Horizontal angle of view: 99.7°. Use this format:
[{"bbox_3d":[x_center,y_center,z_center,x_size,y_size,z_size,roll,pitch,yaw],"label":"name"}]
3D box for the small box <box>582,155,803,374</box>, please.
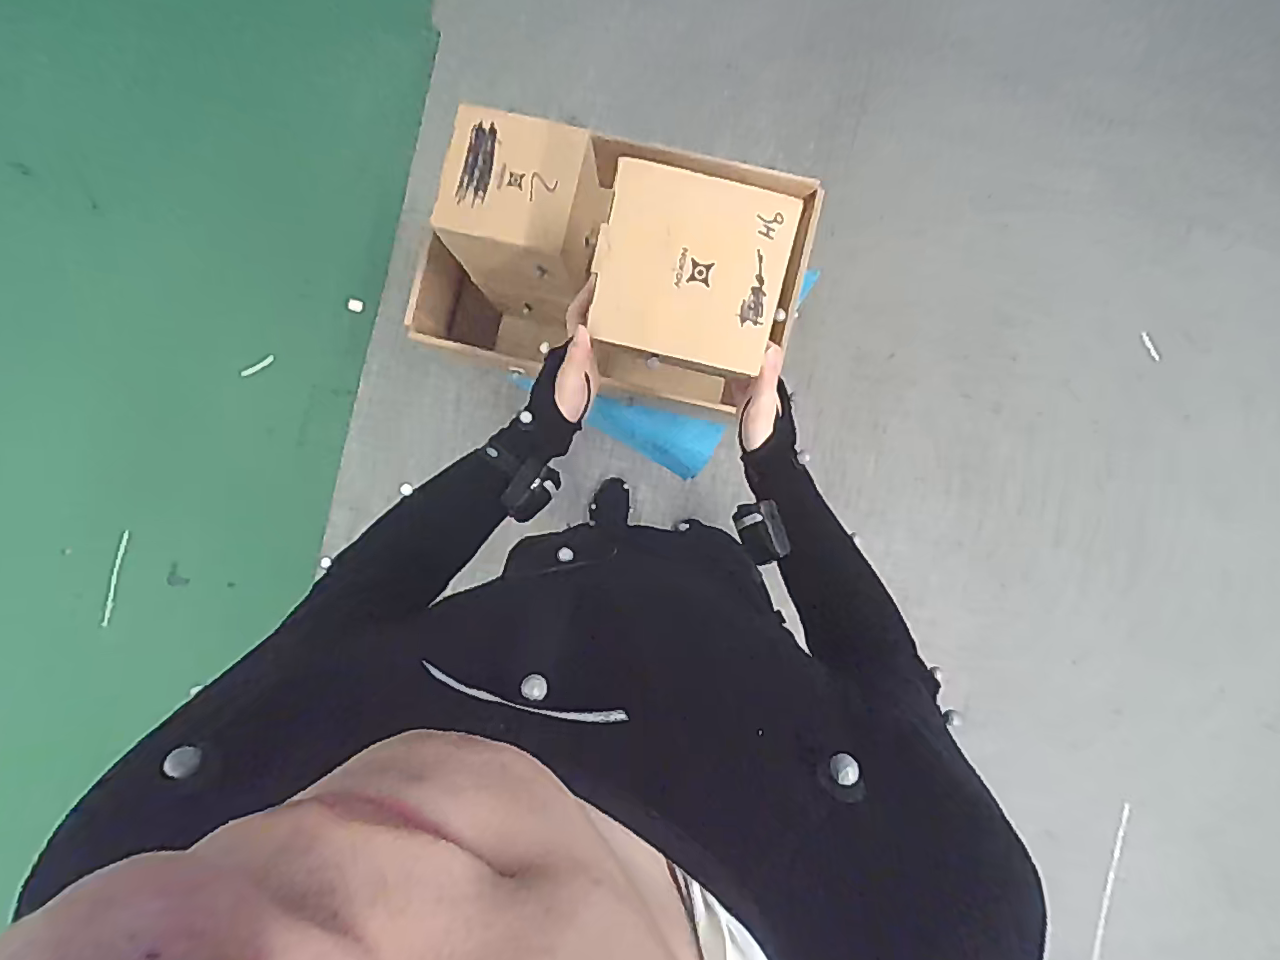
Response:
[{"bbox_3d":[0.049,-0.212,0.584,0.179,0.176,0.168,13,100,-1],"label":"small box"}]
